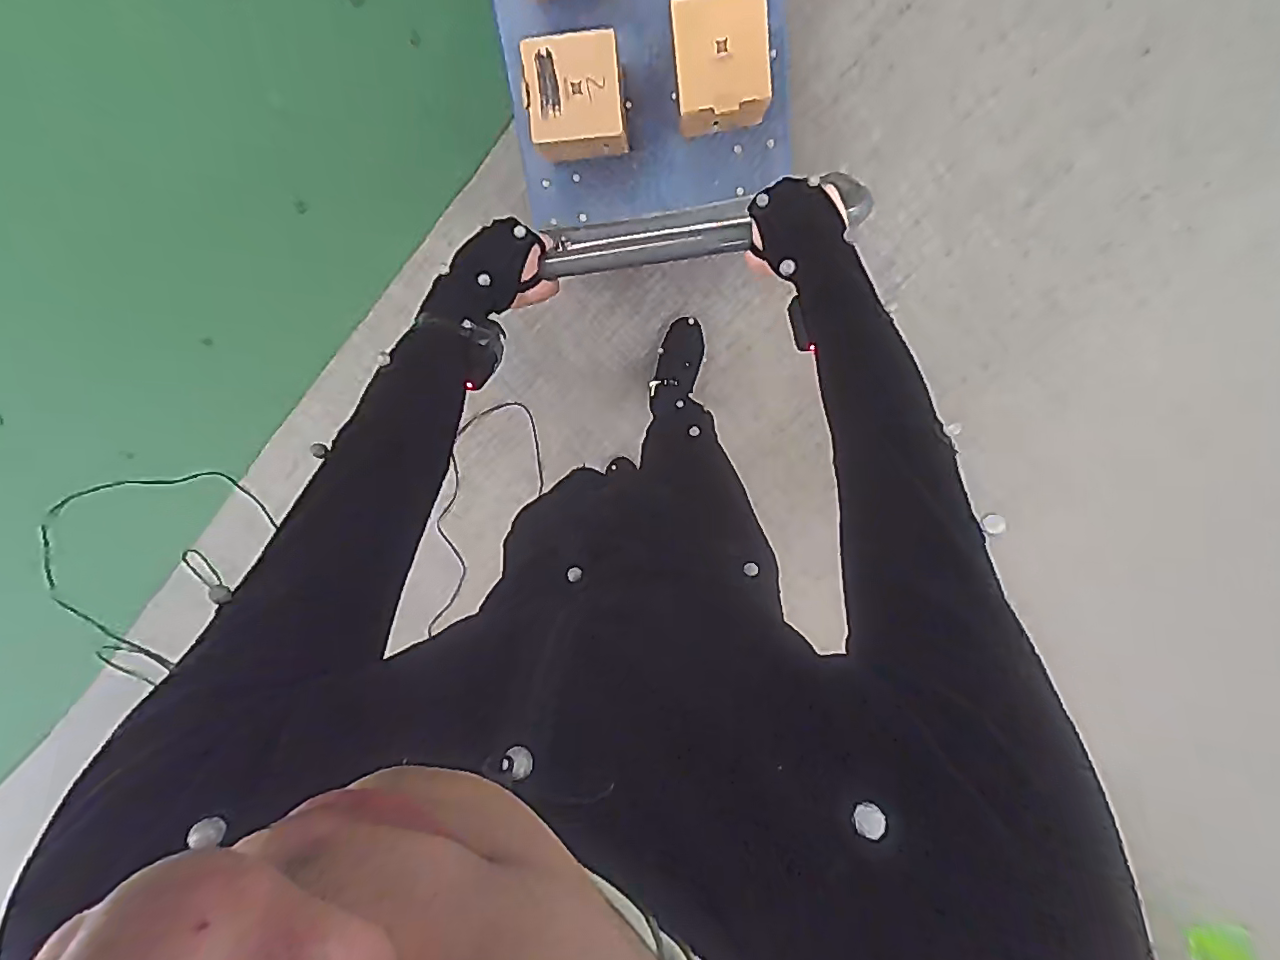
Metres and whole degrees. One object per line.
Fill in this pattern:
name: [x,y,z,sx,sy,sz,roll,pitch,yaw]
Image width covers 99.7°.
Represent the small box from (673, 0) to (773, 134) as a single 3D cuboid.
small box: [0.152,-0.788,1.025,0.168,0.176,0.179,-6,111,6]
